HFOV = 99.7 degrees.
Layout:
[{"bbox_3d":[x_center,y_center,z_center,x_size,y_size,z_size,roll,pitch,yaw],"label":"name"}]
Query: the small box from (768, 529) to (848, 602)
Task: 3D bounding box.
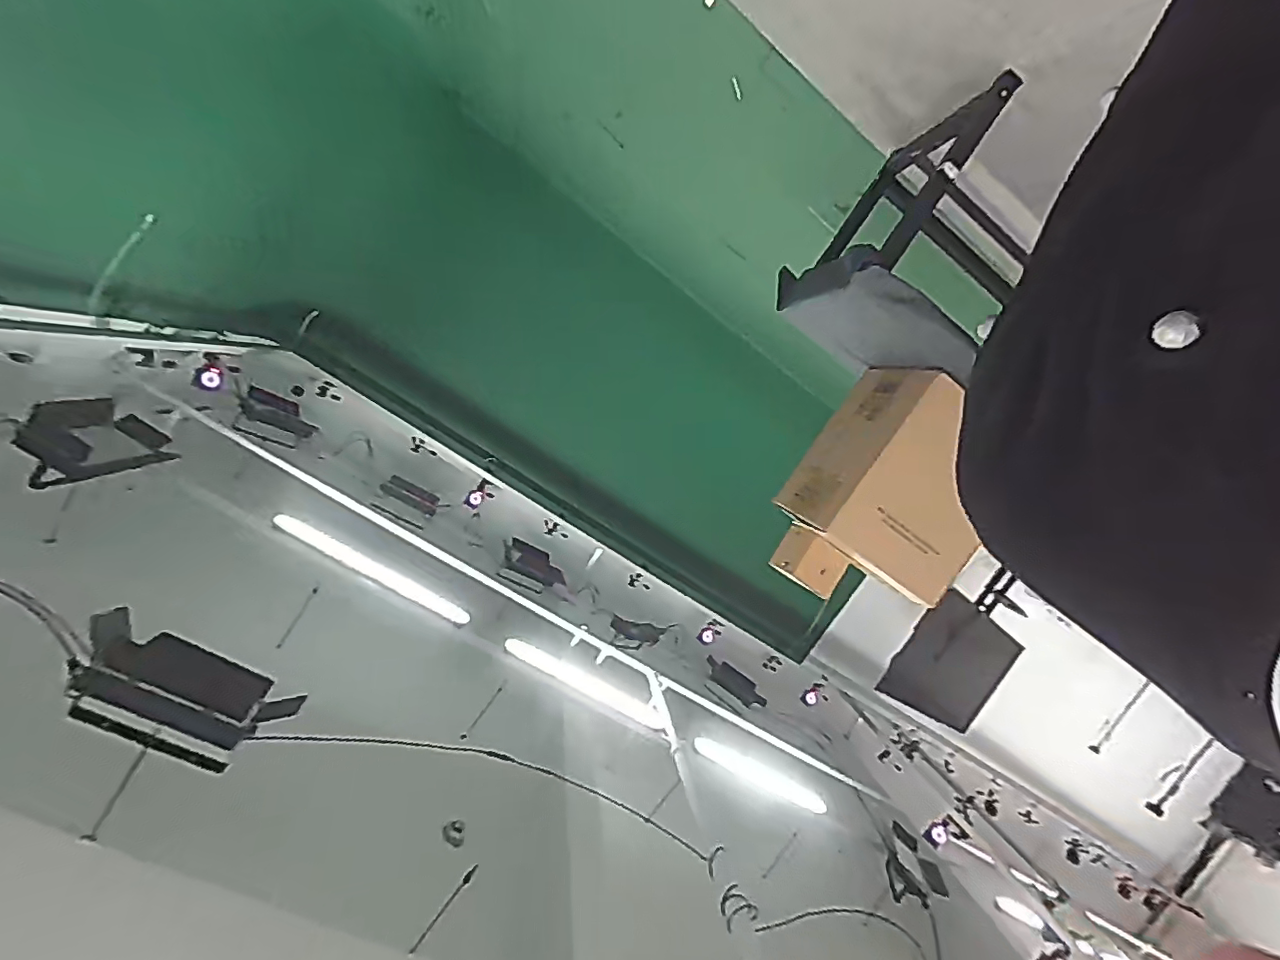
[{"bbox_3d":[0.603,0.302,1.931,0.179,0.176,0.168,34,177,-17],"label":"small box"}]
